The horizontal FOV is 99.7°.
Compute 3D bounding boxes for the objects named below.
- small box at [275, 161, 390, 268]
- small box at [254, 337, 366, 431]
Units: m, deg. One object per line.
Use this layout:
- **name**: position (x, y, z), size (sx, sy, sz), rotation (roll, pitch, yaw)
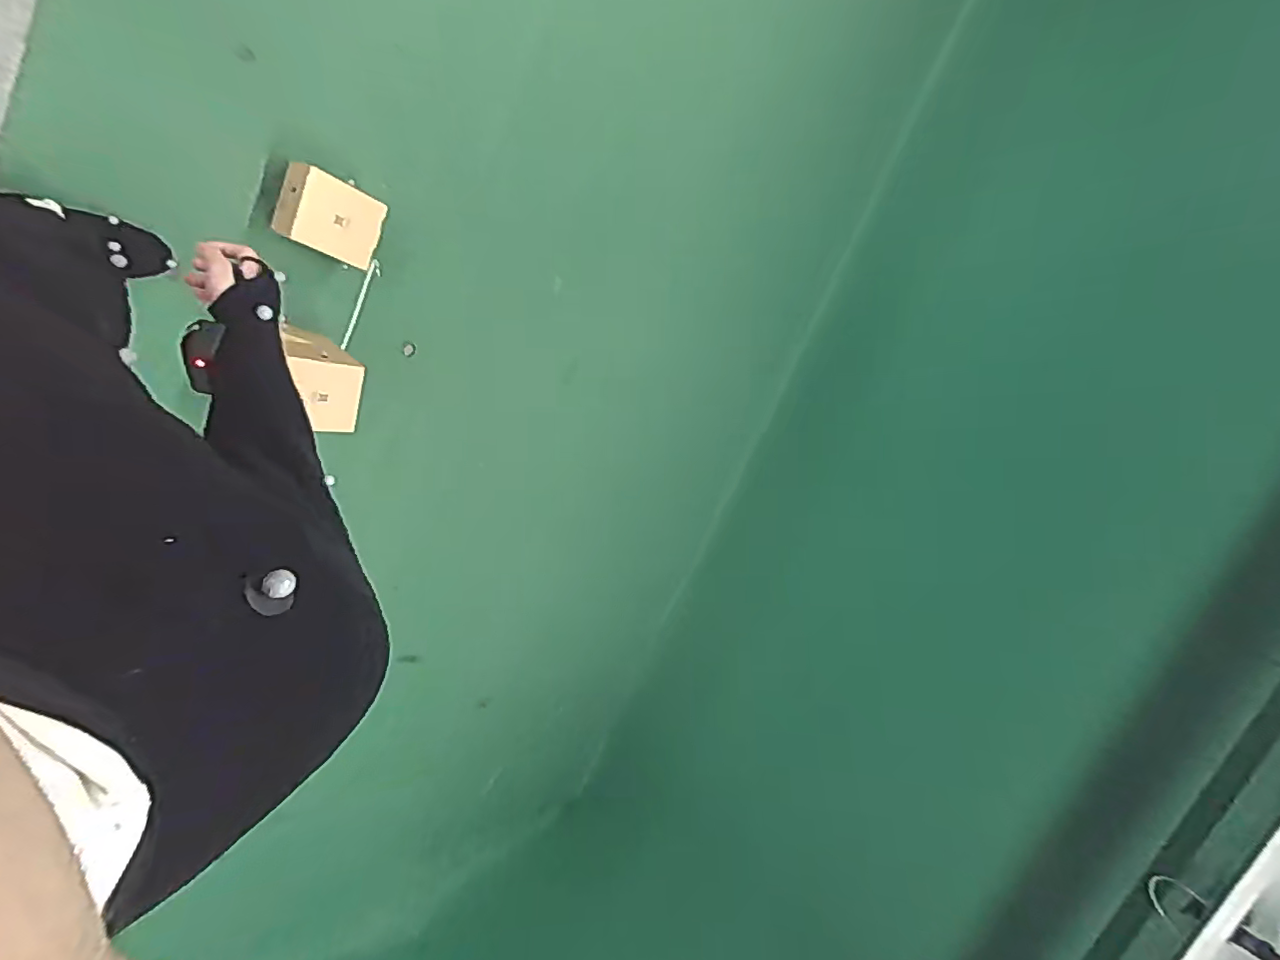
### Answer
- **small box**: position (-0.741, -0.635, 1.295), size (0.179, 0.176, 0.168), rotation (12, 106, -52)
- **small box**: position (-0.776, -0.225, 1.267), size (0.179, 0.176, 0.168), rotation (0, 114, -47)
